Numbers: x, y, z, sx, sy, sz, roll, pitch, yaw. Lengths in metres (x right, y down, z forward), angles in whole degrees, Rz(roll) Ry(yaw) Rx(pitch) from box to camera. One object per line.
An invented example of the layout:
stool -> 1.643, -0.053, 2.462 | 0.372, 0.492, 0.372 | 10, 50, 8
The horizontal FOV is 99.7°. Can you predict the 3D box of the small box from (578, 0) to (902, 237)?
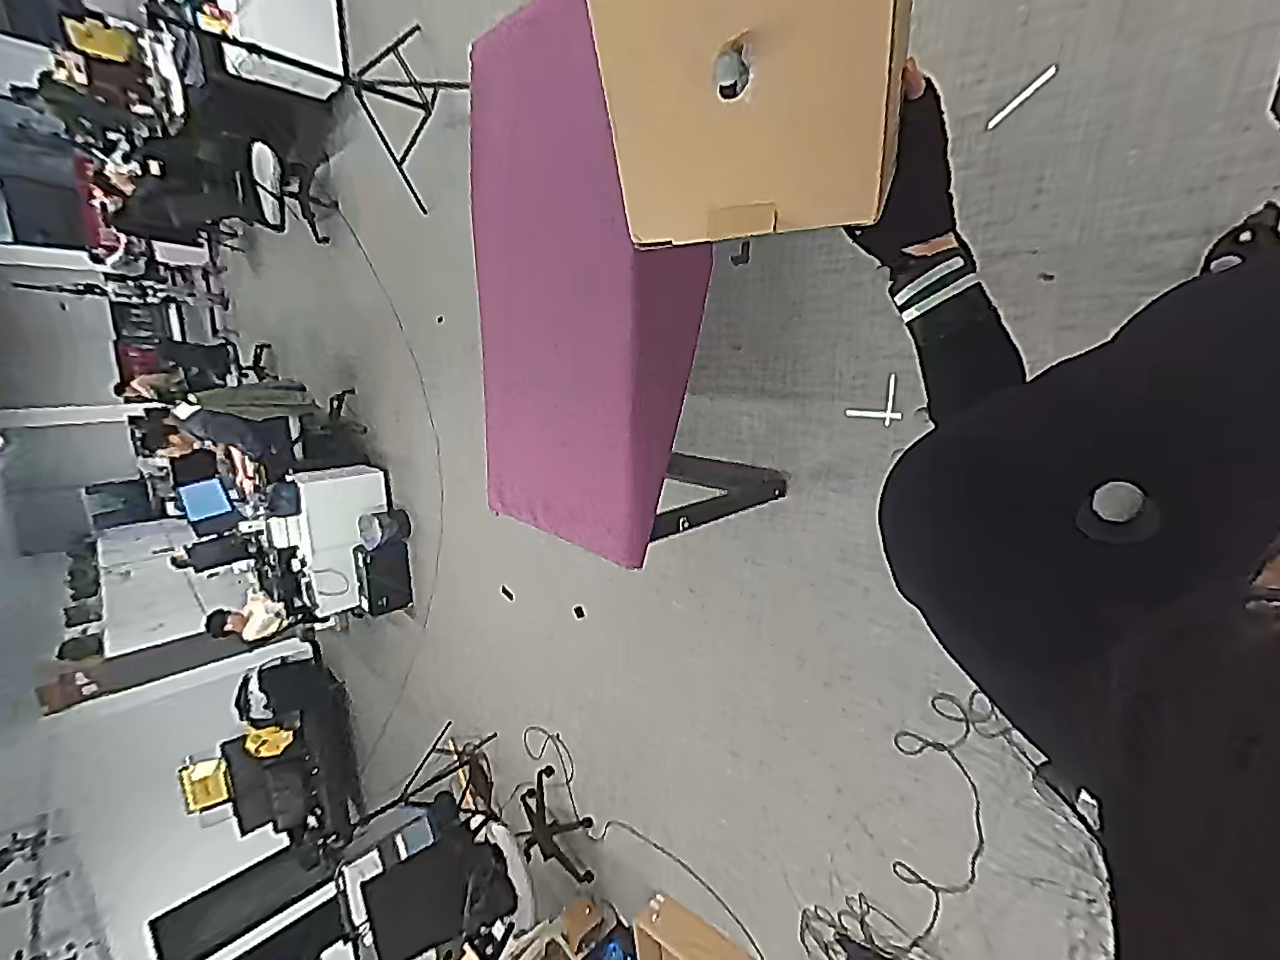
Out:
small box -> 0.074, -0.278, 0.352 | 0.168, 0.179, 0.176 | 7, 131, 25
